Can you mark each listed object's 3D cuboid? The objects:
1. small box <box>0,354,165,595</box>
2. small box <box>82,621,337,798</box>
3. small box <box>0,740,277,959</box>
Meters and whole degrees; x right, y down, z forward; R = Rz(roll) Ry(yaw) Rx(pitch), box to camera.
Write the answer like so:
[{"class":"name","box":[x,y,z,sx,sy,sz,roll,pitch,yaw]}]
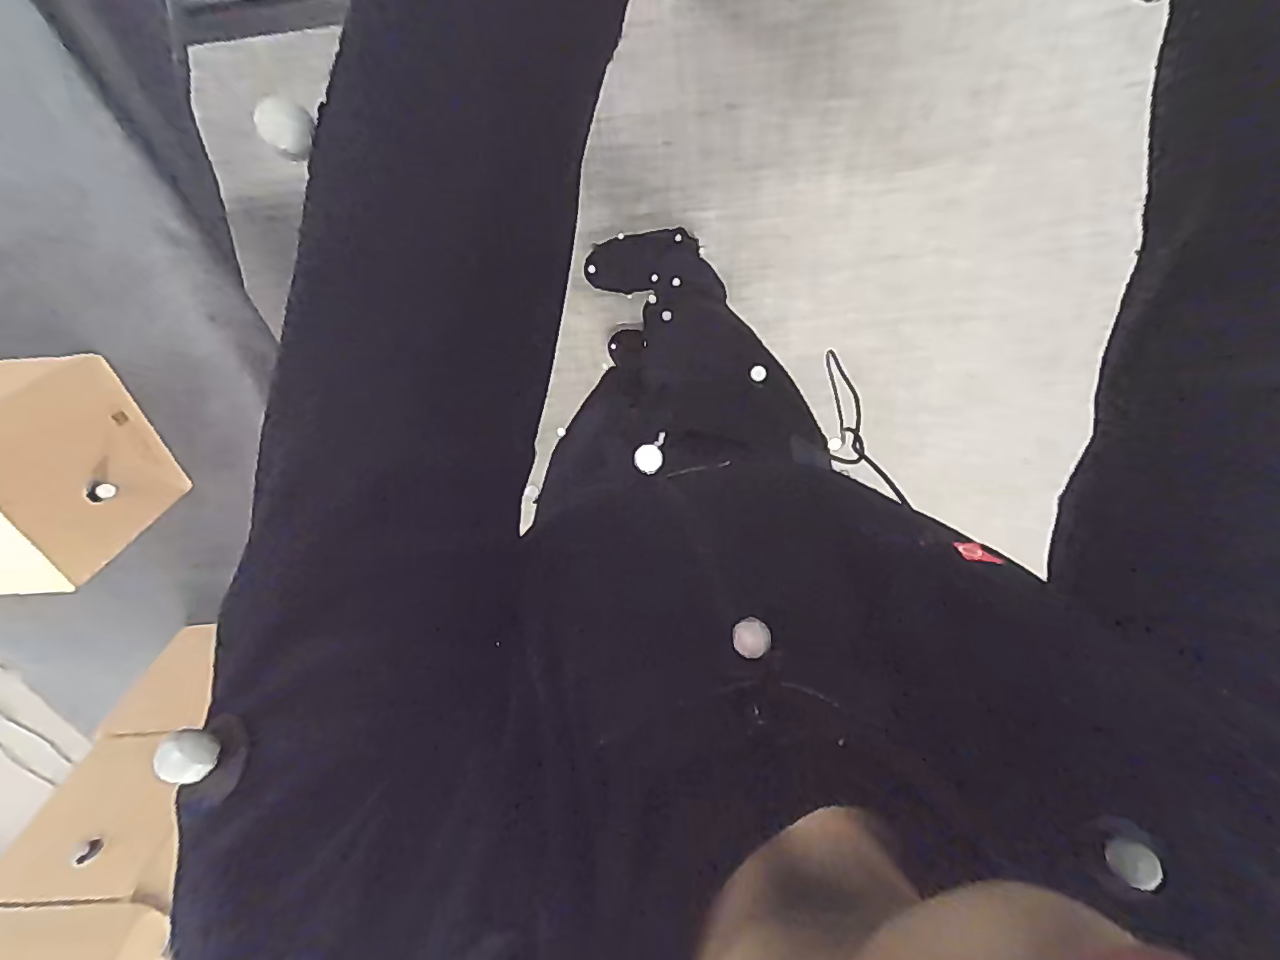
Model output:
[{"class":"small box","box":[-0.609,-0.009,0.508,0.179,0.176,0.168,-3,126,2]},{"class":"small box","box":[-0.562,0.312,0.739,0.179,0.176,0.168,-5,126,4]},{"class":"small box","box":[-0.553,0.413,0.608,0.179,0.176,0.168,-5,125,3]}]
